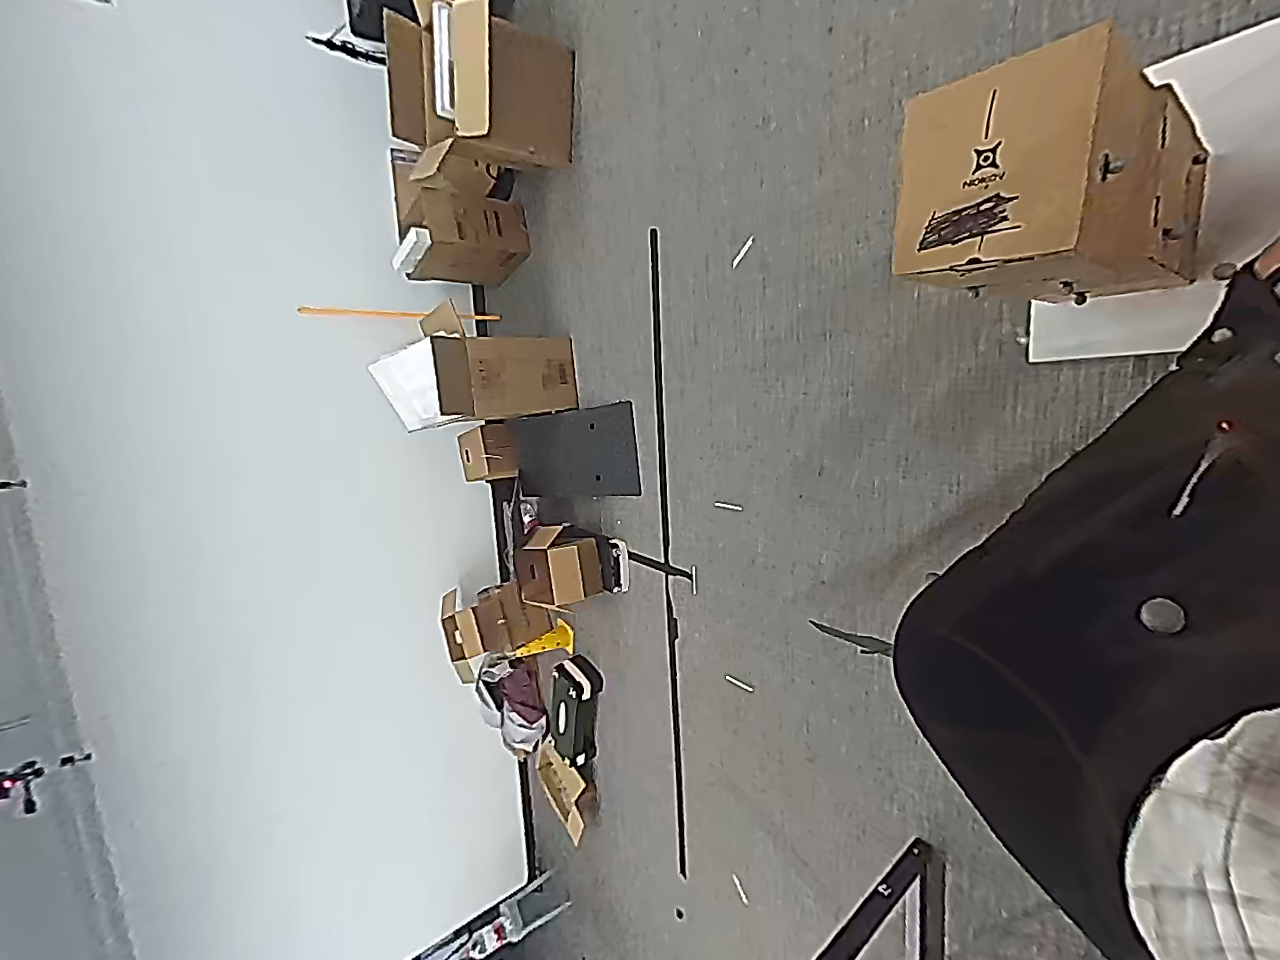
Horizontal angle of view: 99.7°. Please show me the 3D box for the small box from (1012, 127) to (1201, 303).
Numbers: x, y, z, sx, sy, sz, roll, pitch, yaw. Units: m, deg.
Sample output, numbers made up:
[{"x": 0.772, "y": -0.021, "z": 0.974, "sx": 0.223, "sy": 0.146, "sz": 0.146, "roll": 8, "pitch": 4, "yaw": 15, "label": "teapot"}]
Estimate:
[{"x": 0.646, "y": -0.347, "z": 0.751, "sx": 0.168, "sy": 0.176, "sz": 0.179, "roll": 9, "pitch": 105, "yaw": 51, "label": "small box"}]

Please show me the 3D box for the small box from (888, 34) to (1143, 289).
[{"x": 0.384, "y": -0.298, "z": 0.559, "sx": 0.168, "sy": 0.176, "sz": 0.179, "roll": 15, "pitch": 108, "yaw": 50, "label": "small box"}]
